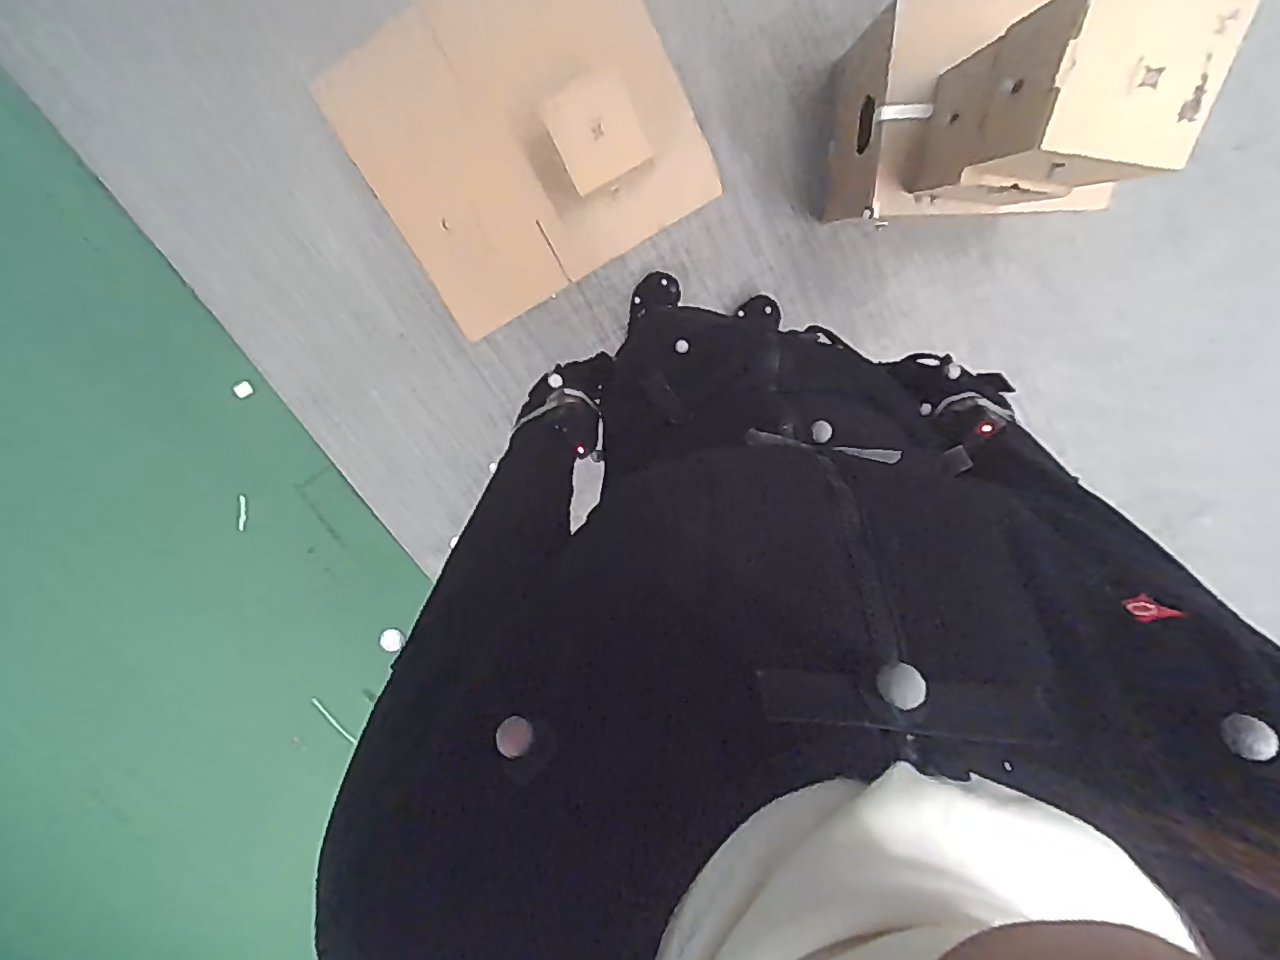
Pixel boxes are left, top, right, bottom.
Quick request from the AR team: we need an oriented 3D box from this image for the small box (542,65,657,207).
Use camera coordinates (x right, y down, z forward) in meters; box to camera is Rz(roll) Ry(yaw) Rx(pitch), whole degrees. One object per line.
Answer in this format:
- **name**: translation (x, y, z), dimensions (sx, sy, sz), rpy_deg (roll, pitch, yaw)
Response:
- **small box**: translation (-0.075, -0.683, 1.099), dimensions (0.168, 0.176, 0.179), rpy_deg (-24, 110, 12)

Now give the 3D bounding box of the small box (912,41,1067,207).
- **small box**: translation (0.543, -0.523, 0.821), dimensions (0.168, 0.176, 0.179), rpy_deg (6, 112, -1)

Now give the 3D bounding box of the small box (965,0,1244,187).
- **small box**: translation (0.545, -0.472, 0.668), dimensions (0.179, 0.176, 0.168), rpy_deg (5, 111, -1)
